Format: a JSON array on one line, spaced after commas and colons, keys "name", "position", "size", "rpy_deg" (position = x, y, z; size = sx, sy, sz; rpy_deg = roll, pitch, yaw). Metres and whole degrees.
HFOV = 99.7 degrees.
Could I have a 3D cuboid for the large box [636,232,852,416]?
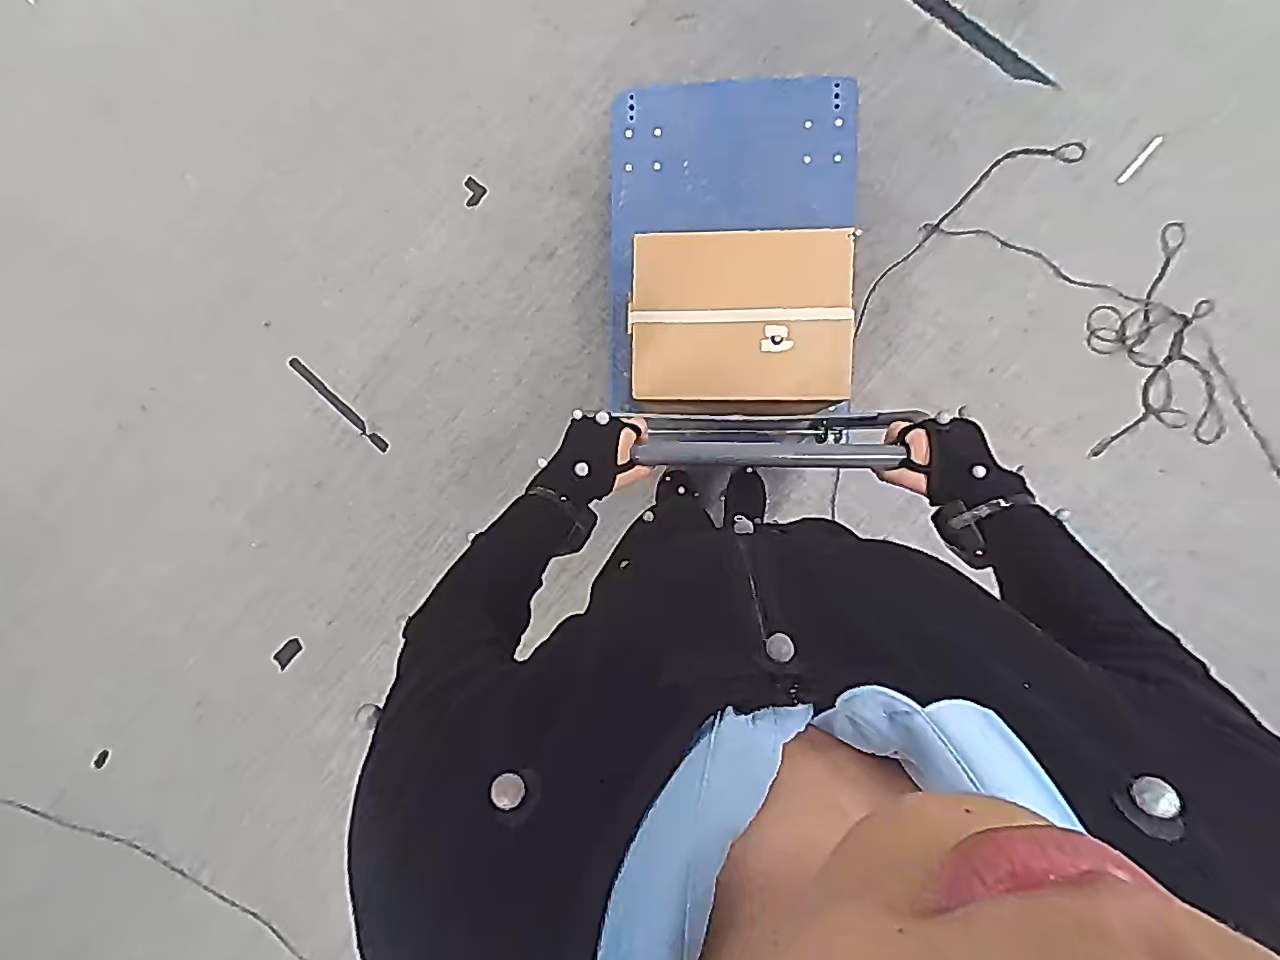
[{"name": "large box", "position": [0.202, -0.307, 1.159], "size": [0.408, 0.320, 0.320], "rpy_deg": [1, 93, 5]}]
